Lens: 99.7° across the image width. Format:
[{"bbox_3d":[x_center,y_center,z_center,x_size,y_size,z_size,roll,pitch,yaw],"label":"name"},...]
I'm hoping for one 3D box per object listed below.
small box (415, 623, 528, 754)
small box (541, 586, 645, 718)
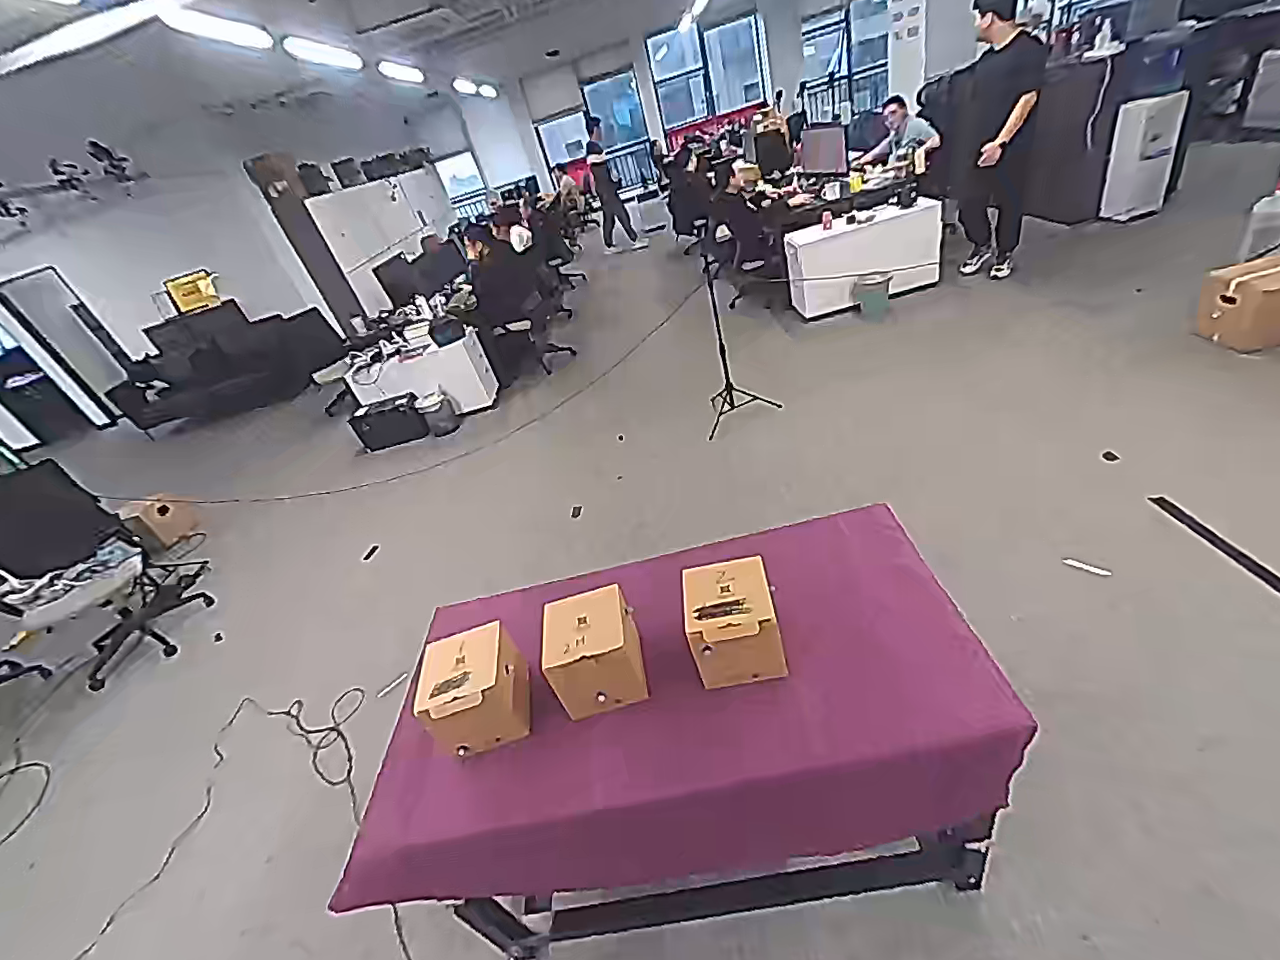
[{"bbox_3d":[-0.339,0.437,1.122,0.168,0.176,0.179,-19,32,-1],"label":"small box"},{"bbox_3d":[-0.095,0.355,1.122,0.168,0.176,0.179,-17,33,3],"label":"small box"}]
